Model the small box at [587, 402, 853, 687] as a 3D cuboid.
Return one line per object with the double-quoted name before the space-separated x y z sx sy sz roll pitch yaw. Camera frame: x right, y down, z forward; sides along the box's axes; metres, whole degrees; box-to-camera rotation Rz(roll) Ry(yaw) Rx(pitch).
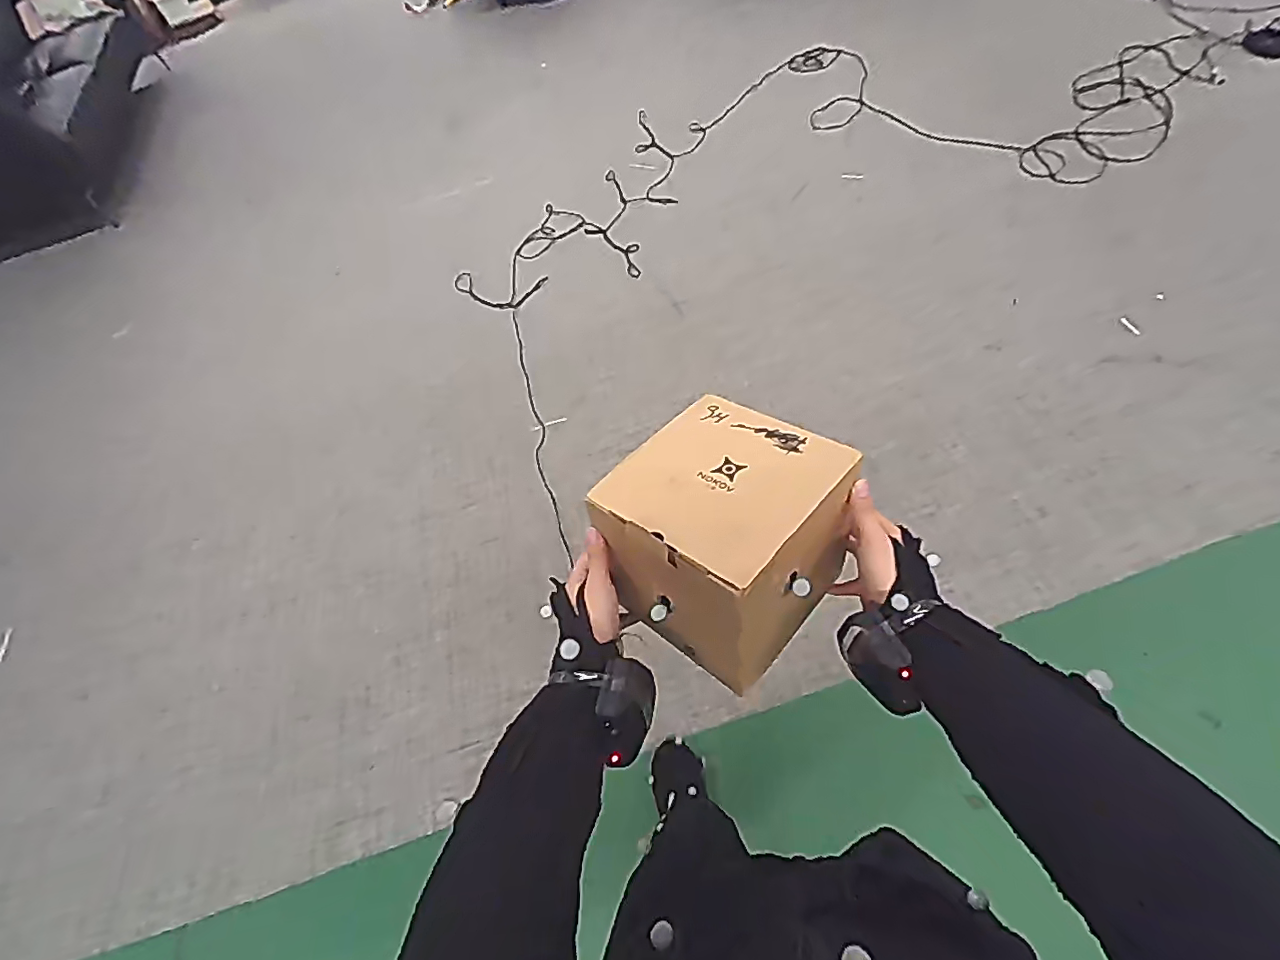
"small box" 0.081 0.060 0.518 0.168 0.176 0.179 28 57 34
